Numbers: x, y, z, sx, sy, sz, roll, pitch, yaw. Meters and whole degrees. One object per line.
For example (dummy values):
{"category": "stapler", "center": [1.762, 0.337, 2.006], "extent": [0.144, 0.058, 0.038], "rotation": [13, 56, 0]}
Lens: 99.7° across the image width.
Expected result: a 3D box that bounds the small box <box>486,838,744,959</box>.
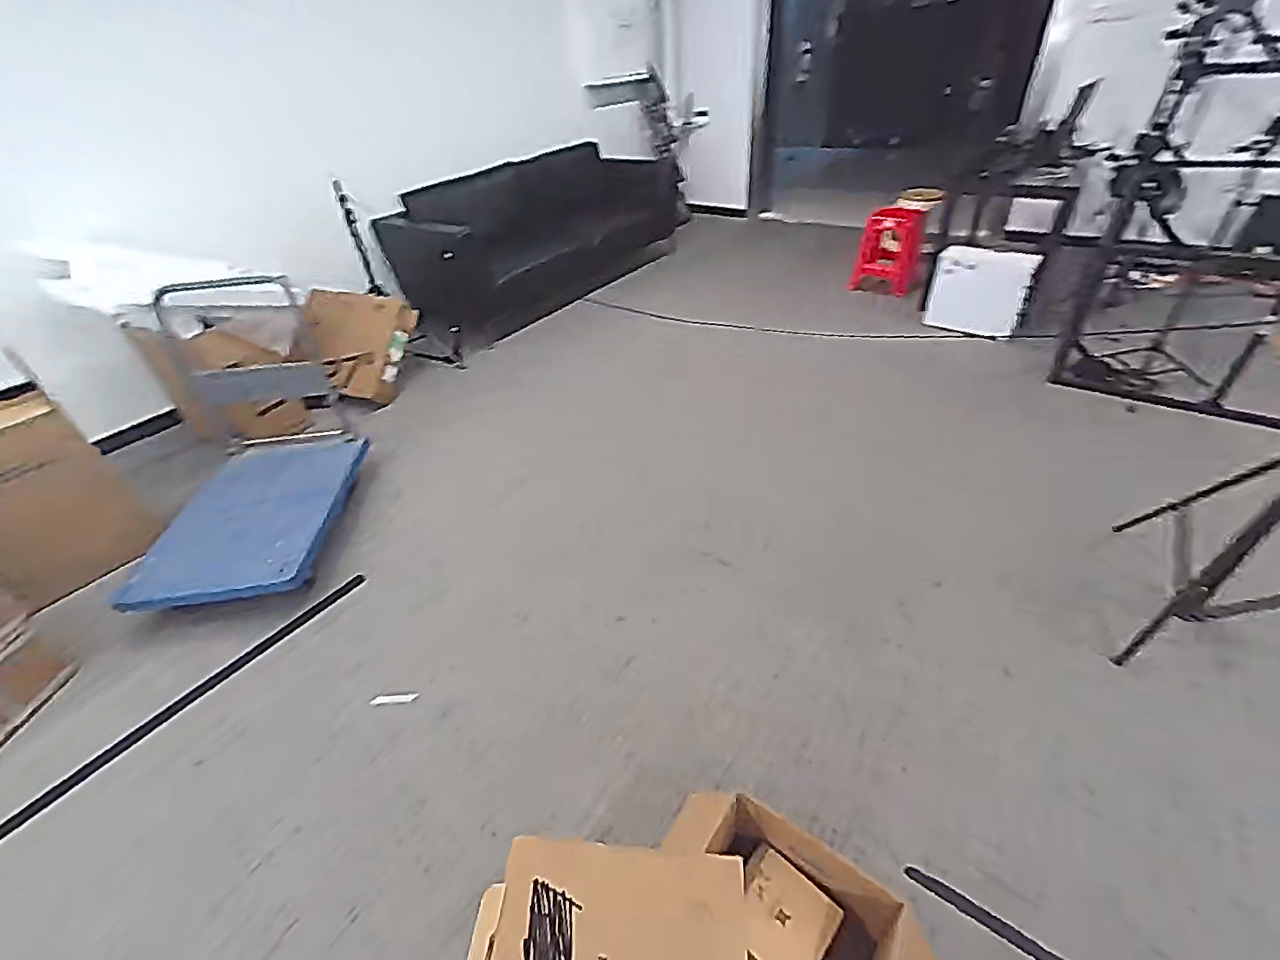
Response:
{"category": "small box", "center": [-0.019, 0.393, 0.403], "extent": [0.179, 0.176, 0.168], "rotation": [4, 42, 2]}
